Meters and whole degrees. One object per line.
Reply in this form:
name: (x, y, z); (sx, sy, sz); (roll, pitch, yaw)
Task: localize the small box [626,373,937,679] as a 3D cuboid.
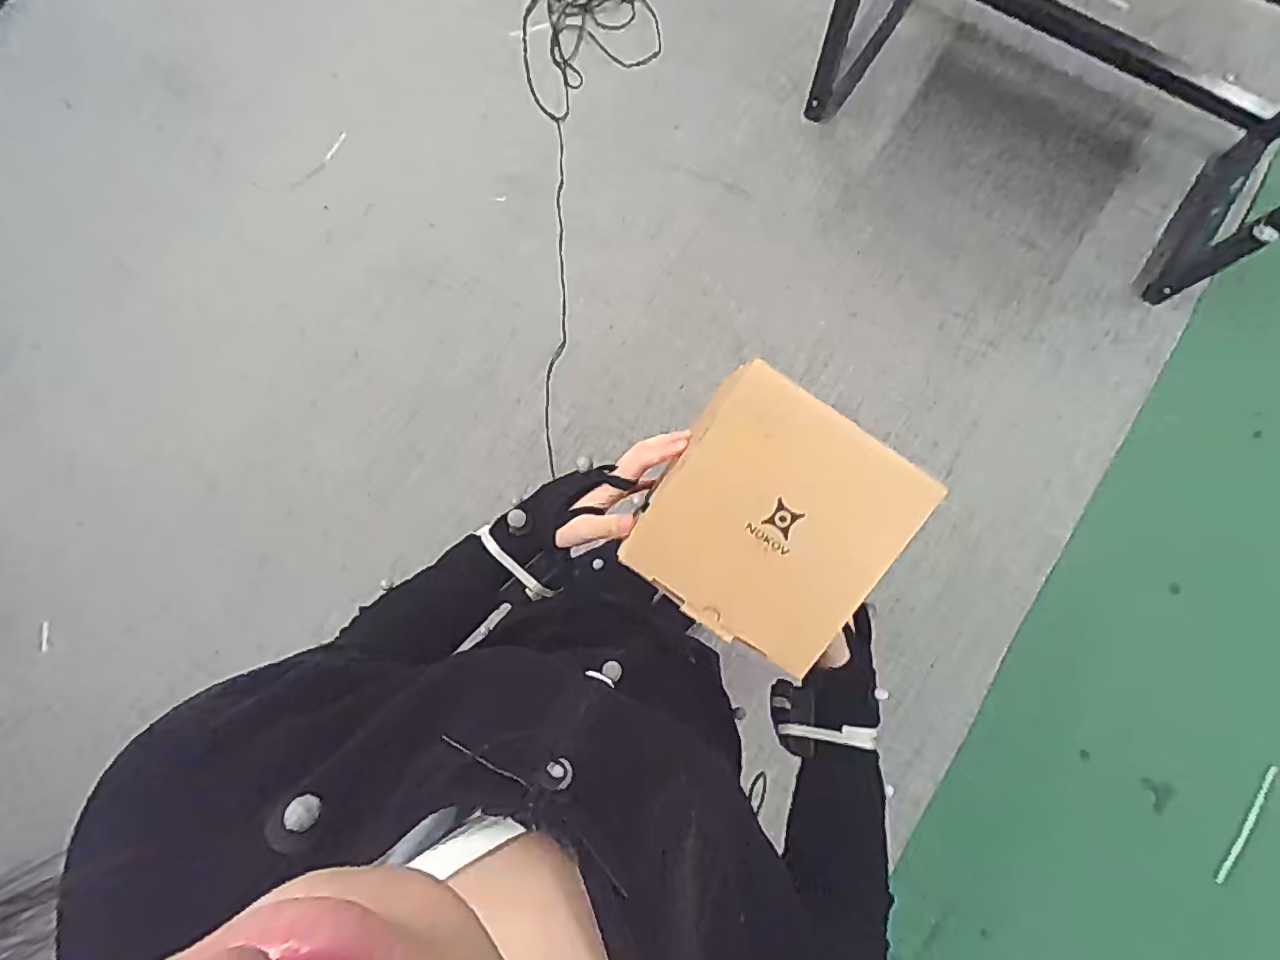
small box: (0.104, 0.026, 0.474); (0.168, 0.176, 0.179); (34, 99, -2)

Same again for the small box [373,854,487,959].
small box: (-0.508, 1.090, 1.339); (0.168, 0.176, 0.179); (33, 84, 6)
